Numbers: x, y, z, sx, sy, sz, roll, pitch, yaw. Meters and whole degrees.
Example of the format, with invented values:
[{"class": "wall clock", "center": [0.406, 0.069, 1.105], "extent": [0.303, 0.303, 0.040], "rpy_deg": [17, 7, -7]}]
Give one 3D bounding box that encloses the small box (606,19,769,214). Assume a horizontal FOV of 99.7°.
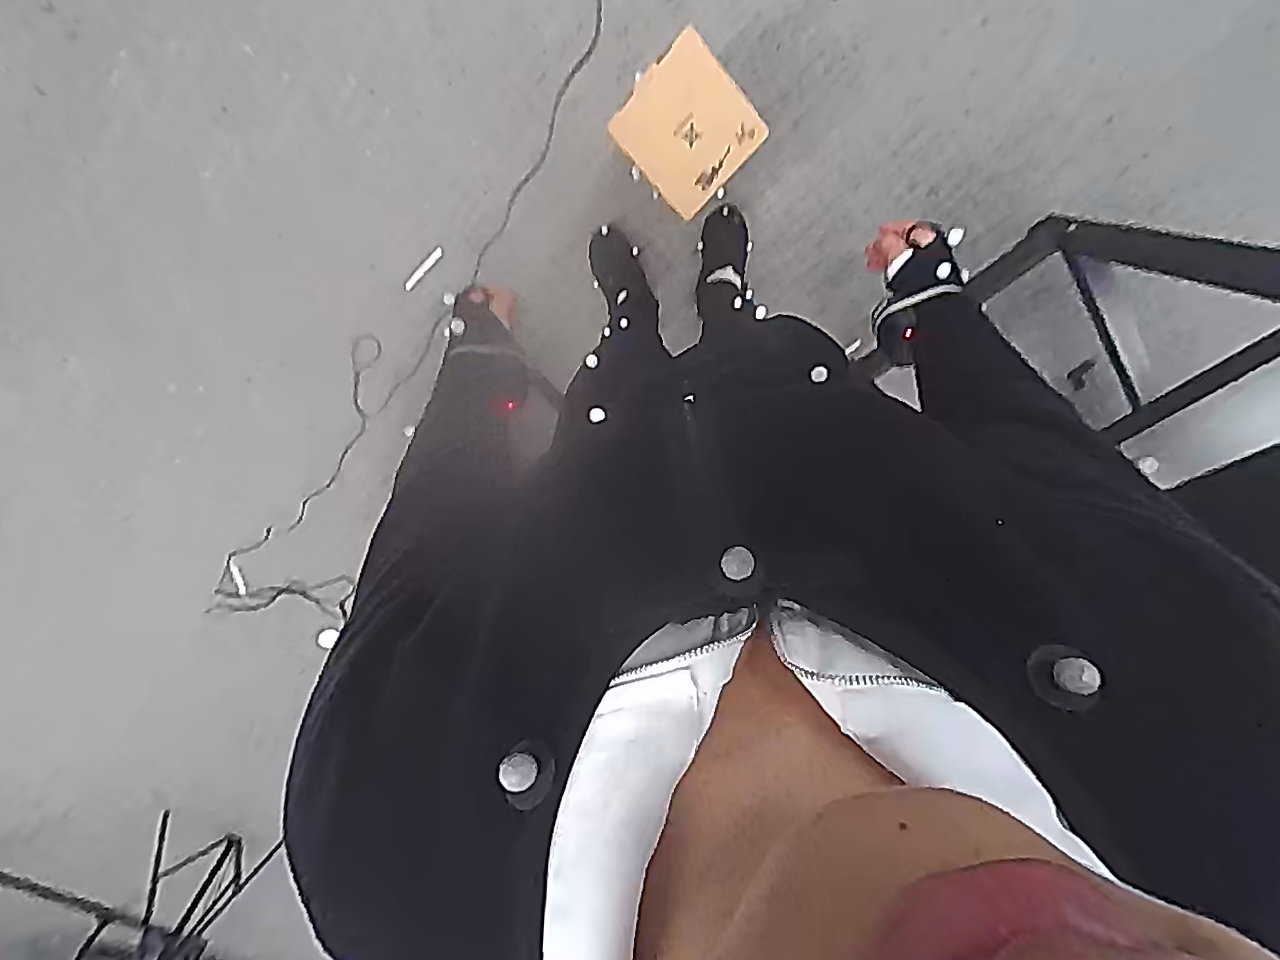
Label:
[{"class": "small box", "center": [0.067, -0.542, 0.832], "extent": [0.179, 0.176, 0.168], "rpy_deg": [41, 113, -21]}]
